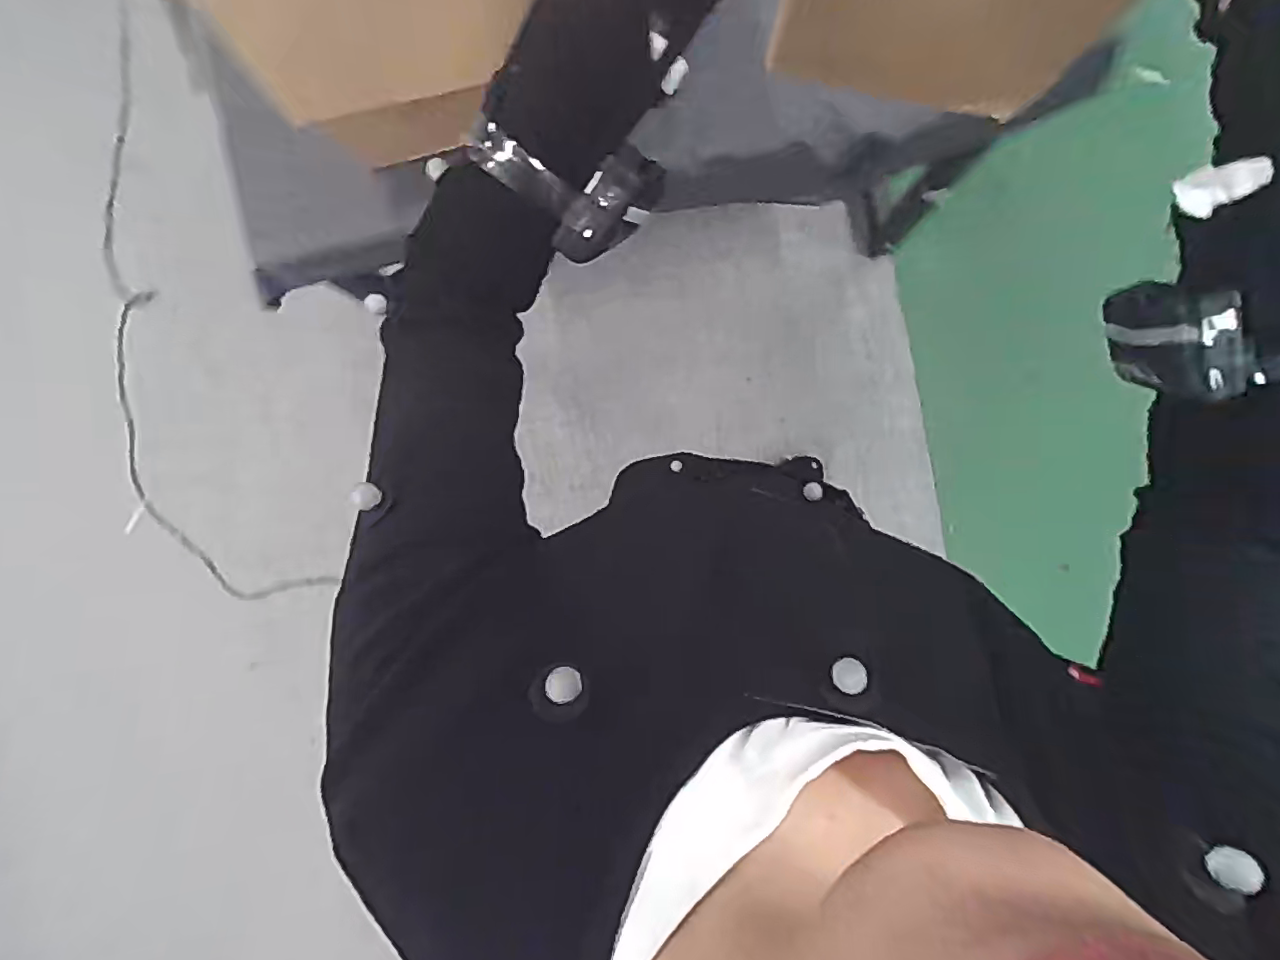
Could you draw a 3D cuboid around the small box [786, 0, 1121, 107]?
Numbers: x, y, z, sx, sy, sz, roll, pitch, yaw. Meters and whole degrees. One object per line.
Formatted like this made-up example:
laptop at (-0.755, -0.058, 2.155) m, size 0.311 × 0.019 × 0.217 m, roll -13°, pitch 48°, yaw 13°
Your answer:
small box at (0.196, -0.347, 0.295) m, size 0.179 × 0.176 × 0.168 m, roll 13°, pitch 94°, yaw 0°
